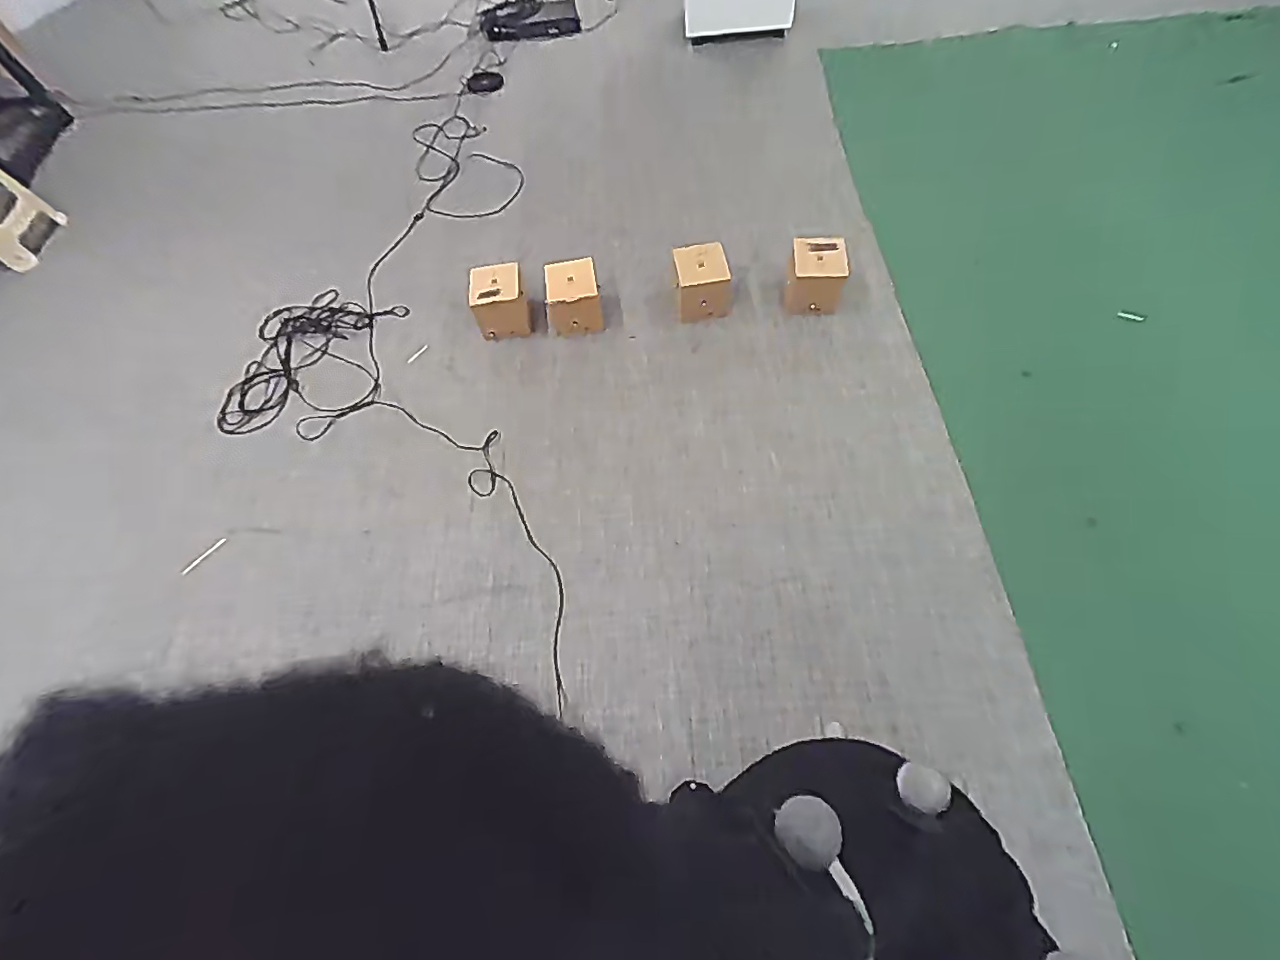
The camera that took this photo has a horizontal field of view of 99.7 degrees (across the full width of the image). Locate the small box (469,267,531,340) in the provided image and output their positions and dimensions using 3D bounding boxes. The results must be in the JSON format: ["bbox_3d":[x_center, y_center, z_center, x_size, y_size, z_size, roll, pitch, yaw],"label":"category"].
[{"bbox_3d":[-0.474,-0.598,1.858,0.168,0.176,0.179,-7,62,1],"label":"small box"}]

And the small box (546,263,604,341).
[{"bbox_3d":[-0.219,-0.604,1.842,0.168,0.176,0.179,-10,63,0],"label":"small box"}]

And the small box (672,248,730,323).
[{"bbox_3d":[0.205,-0.650,1.831,0.168,0.176,0.179,-9,63,-1],"label":"small box"}]
